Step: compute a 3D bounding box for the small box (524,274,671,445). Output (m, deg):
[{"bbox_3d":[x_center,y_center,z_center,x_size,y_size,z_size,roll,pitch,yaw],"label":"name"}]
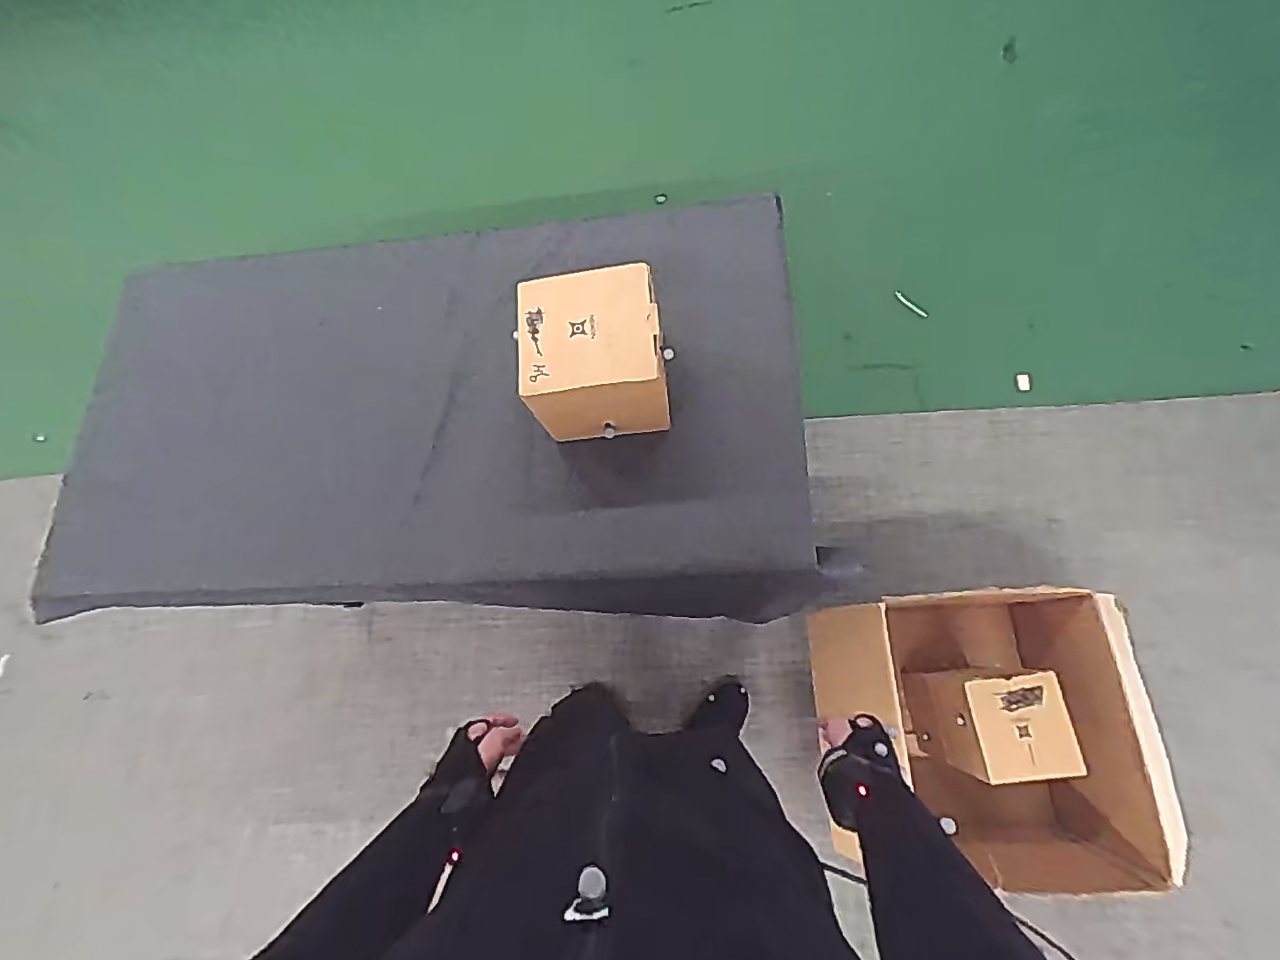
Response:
[{"bbox_3d":[-0.051,-0.161,0.770,0.179,0.176,0.168,-9,74,6],"label":"small box"}]
